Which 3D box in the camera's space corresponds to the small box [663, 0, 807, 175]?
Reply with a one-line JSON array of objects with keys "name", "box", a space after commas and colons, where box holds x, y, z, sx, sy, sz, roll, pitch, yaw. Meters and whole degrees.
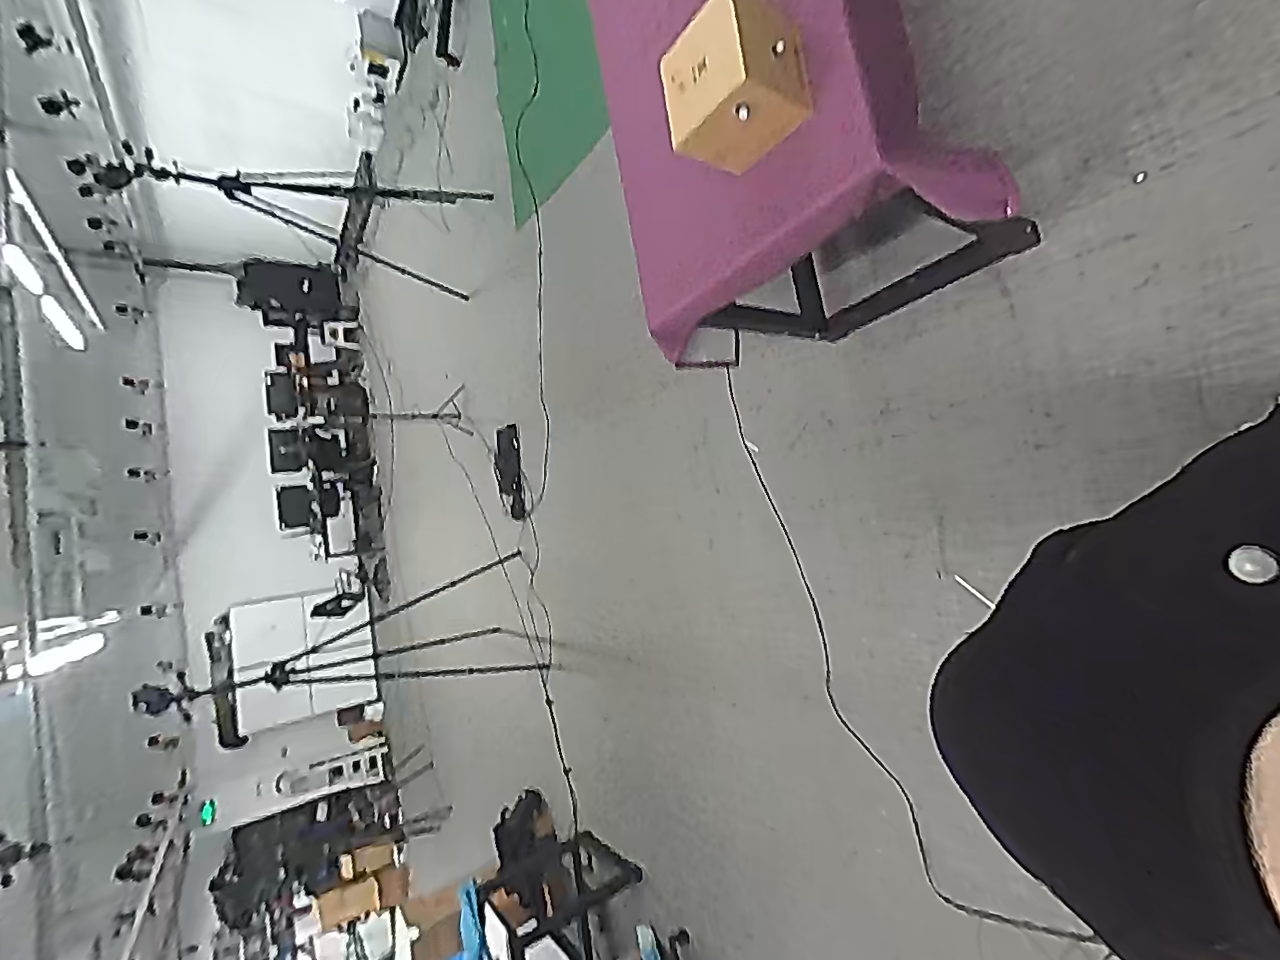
[{"name": "small box", "box": [0.167, -0.664, 0.927, 0.179, 0.176, 0.168, -14, 82, 54]}]
